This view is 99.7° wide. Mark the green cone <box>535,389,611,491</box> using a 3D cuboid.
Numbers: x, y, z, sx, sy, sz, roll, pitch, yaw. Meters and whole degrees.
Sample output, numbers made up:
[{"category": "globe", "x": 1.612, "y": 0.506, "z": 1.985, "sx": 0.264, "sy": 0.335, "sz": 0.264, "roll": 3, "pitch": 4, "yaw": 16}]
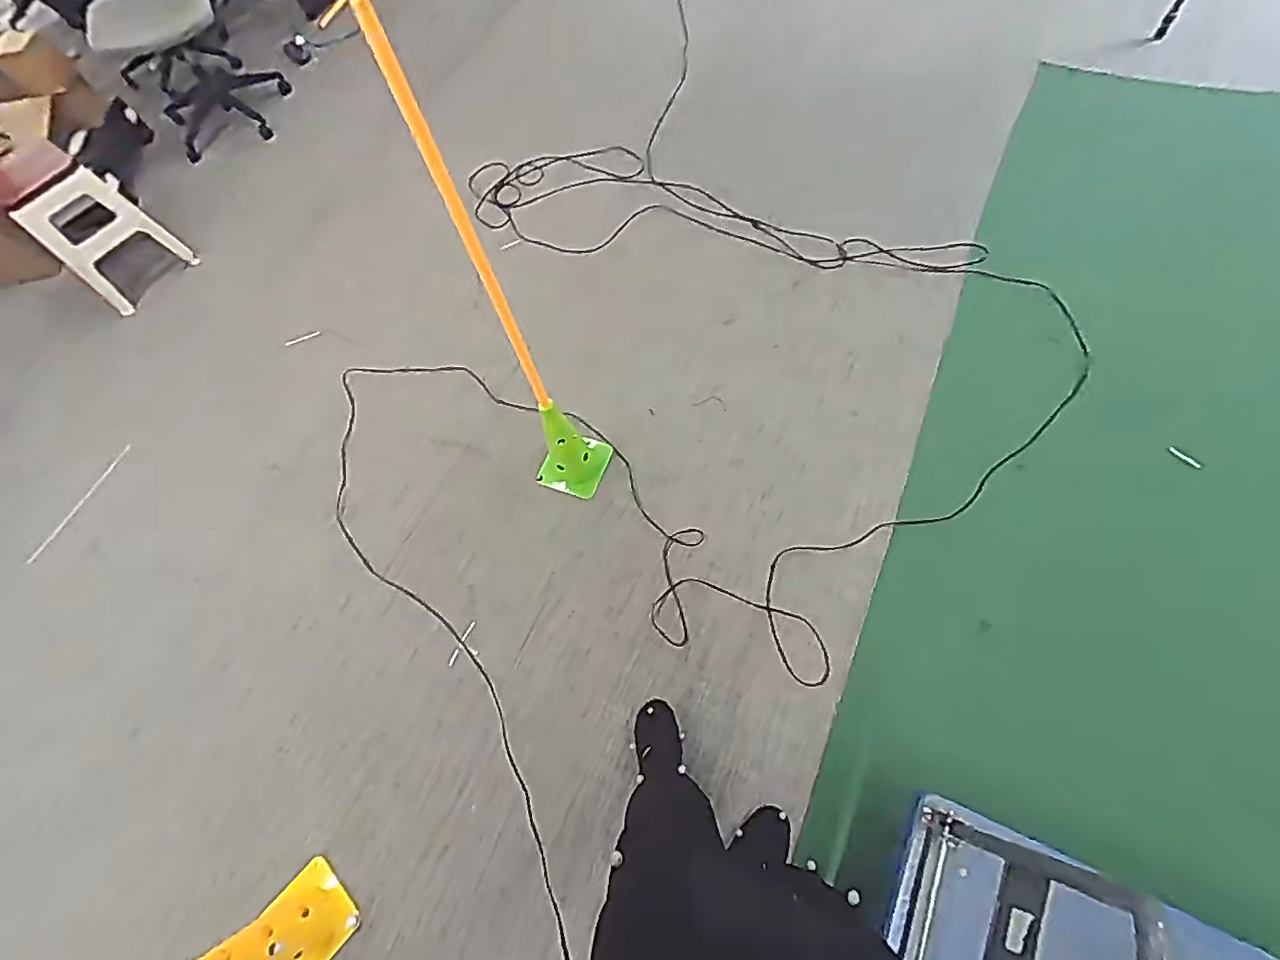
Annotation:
[{"category": "green cone", "x": -0.231, "y": -0.143, "z": 1.574, "sx": 0.200, "sy": 0.368, "sz": 0.202, "roll": 17, "pitch": 68, "yaw": 14}]
